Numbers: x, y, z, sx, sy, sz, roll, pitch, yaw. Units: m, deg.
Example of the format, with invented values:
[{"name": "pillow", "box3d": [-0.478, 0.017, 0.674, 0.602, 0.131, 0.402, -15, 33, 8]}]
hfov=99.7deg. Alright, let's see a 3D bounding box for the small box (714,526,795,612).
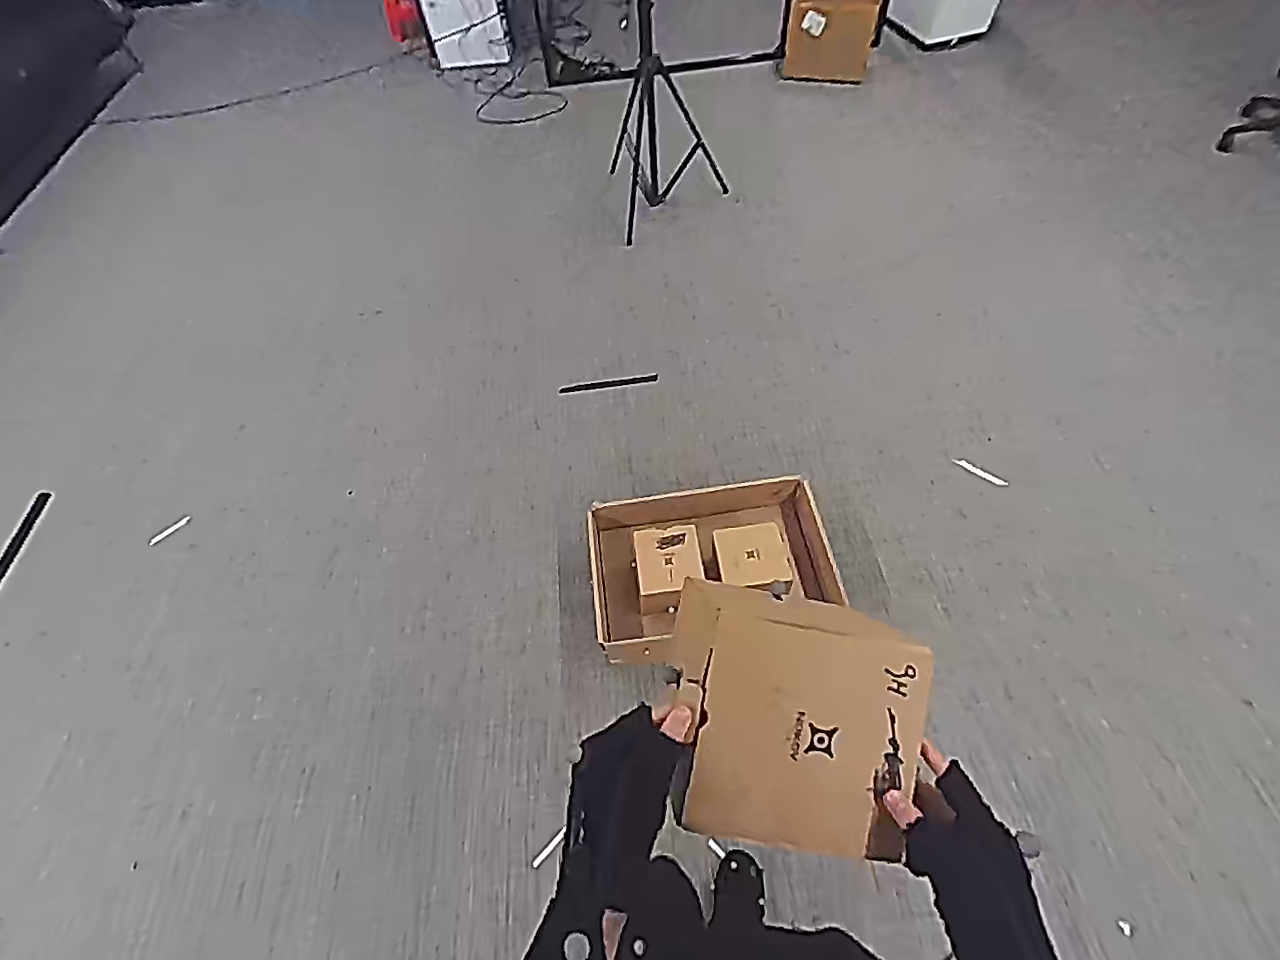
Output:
[{"name": "small box", "box3d": [0.295, 0.239, 1.436, 0.179, 0.176, 0.168, -8, 57, 2]}]
